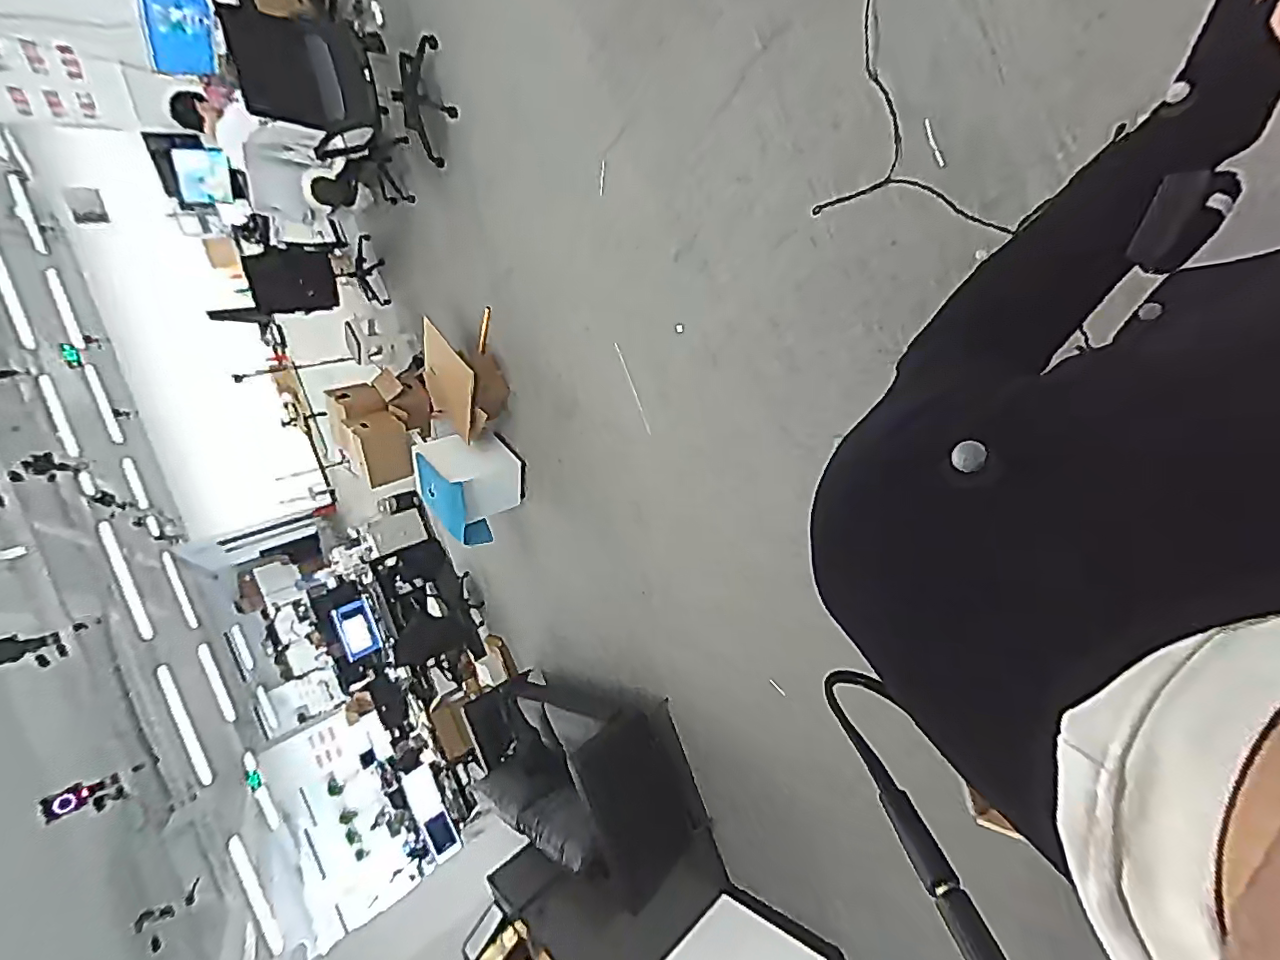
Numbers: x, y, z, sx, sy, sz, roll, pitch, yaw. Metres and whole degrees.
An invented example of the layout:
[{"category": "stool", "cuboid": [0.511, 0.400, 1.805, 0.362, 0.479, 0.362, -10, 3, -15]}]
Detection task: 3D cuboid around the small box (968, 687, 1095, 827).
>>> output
[{"category": "small box", "cuboid": [0.836, 0.576, 1.151, 0.168, 0.176, 0.179, -7, 101, 54]}]
